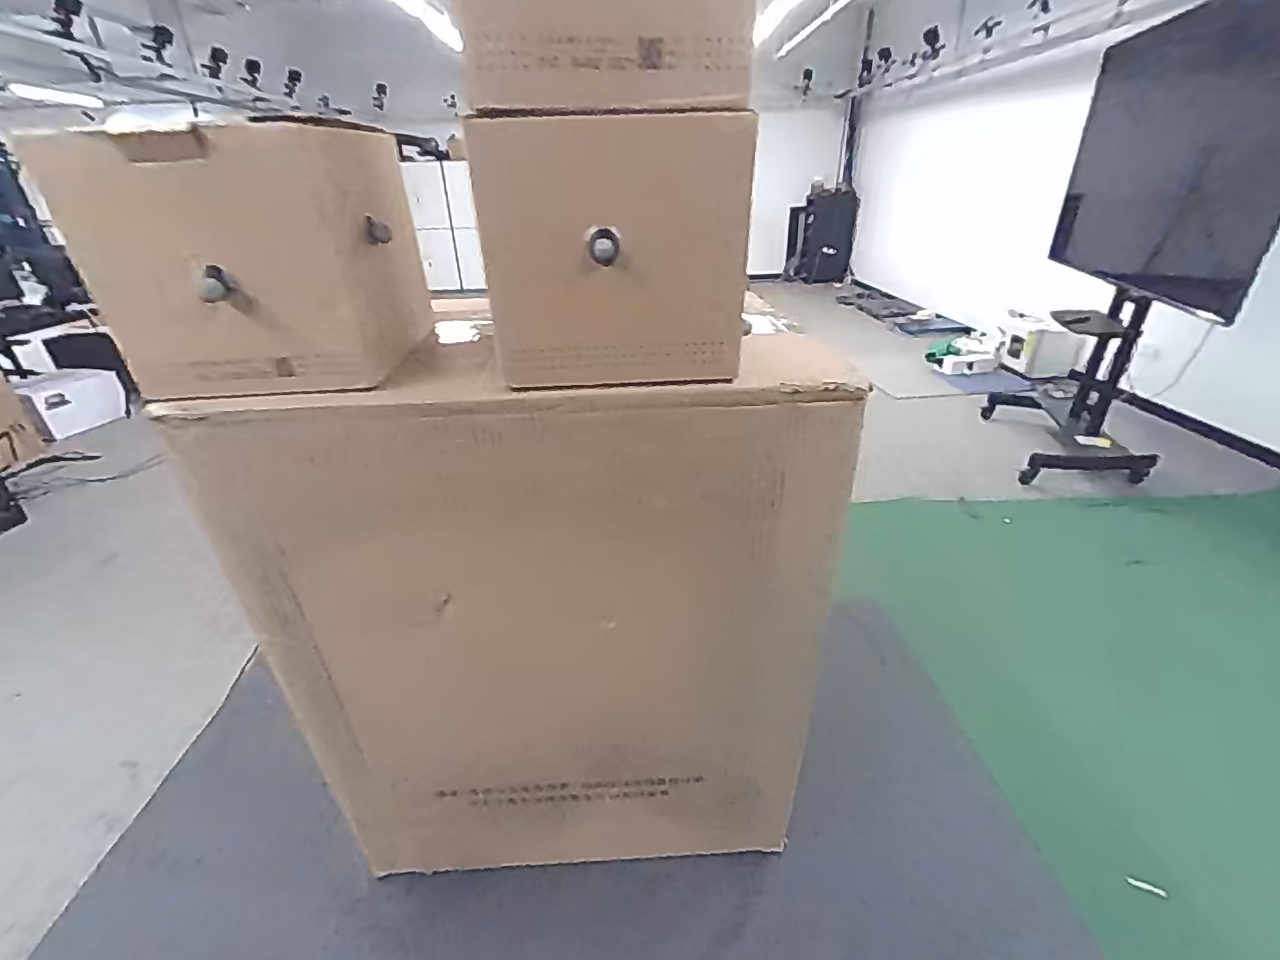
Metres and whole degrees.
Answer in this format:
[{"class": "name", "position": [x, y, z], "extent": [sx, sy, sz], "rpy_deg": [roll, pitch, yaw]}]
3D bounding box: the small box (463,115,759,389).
[{"class": "small box", "position": [-0.017, -0.178, 0.422], "extent": [0.179, 0.176, 0.168], "rpy_deg": [-3, 30, -1]}]

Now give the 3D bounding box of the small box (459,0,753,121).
[{"class": "small box", "position": [-0.024, -0.321, 0.347], "extent": [0.168, 0.176, 0.179], "rpy_deg": [-3, 29, -6]}]

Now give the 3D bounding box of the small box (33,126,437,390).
[{"class": "small box", "position": [-0.278, -0.176, 0.431], "extent": [0.168, 0.176, 0.179], "rpy_deg": [-3, 31, -2]}]
